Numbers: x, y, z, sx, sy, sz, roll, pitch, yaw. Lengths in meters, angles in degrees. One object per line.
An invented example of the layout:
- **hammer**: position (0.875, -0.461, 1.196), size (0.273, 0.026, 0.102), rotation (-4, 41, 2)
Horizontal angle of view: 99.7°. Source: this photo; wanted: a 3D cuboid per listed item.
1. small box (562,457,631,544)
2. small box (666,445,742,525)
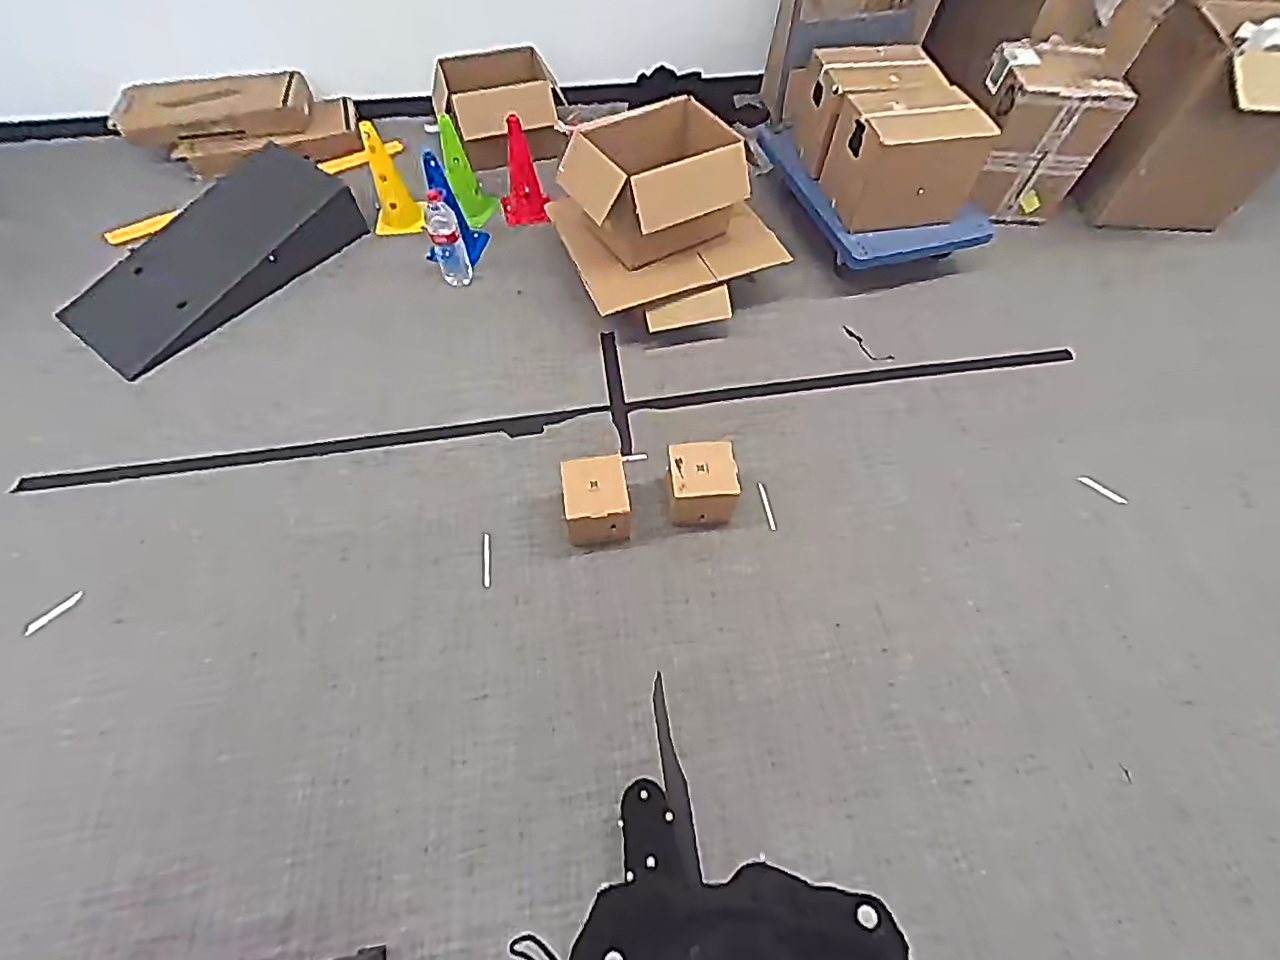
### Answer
- **small box**: position (-0.116, 0.062, 1.464), size (0.168, 0.176, 0.179), rotation (-7, 59, -7)
- **small box**: position (0.170, 0.016, 1.498), size (0.179, 0.176, 0.168), rotation (-3, 60, -4)
